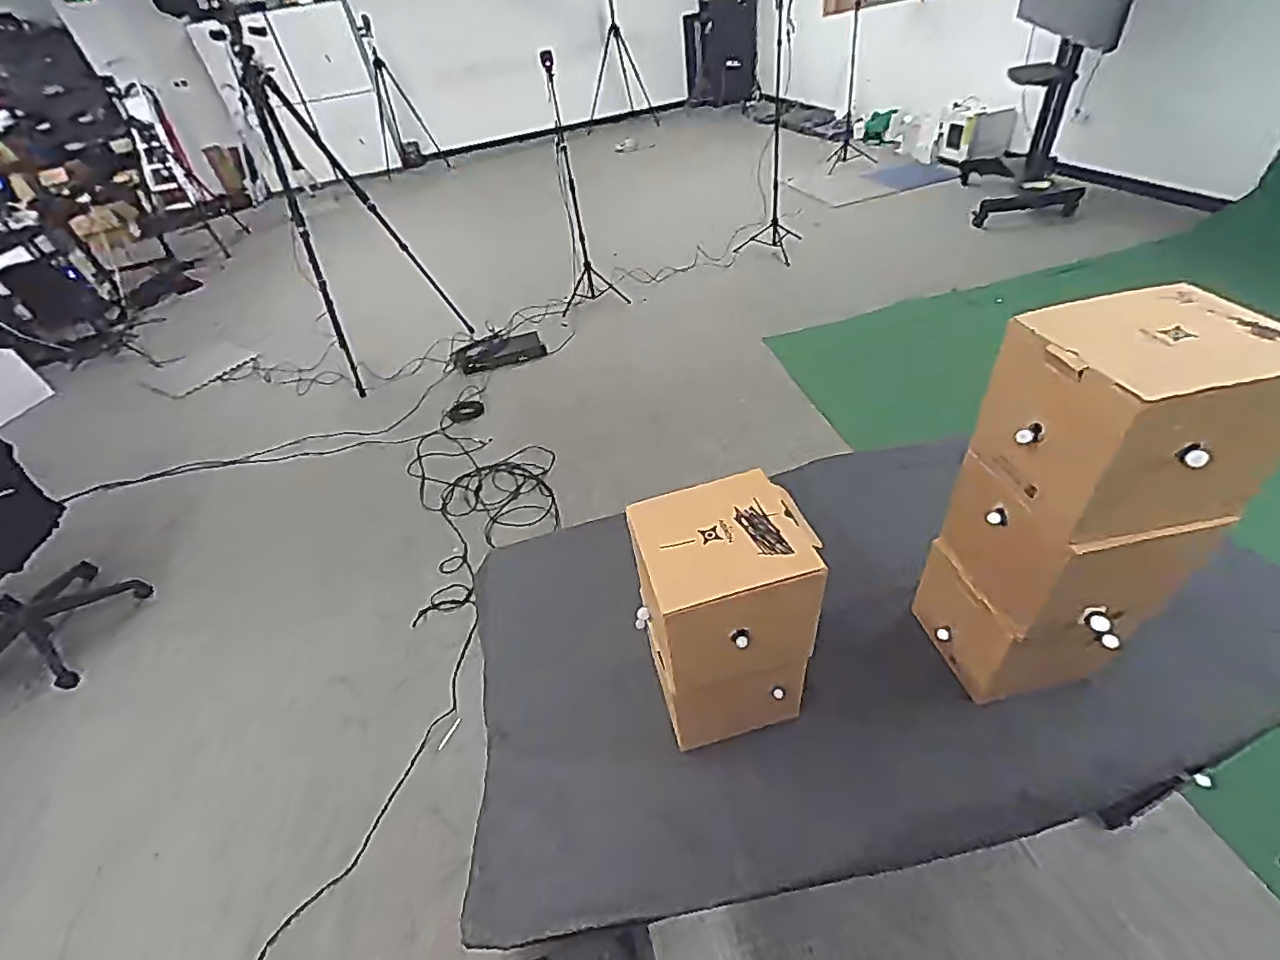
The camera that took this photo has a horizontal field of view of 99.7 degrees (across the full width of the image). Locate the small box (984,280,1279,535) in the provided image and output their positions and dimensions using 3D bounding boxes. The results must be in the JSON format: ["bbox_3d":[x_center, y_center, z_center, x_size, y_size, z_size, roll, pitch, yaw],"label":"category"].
[{"bbox_3d":[0.467,-0.066,0.522,0.179,0.176,0.168,-11,41,2],"label":"small box"}]

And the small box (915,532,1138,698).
[{"bbox_3d":[0.513,0.171,0.742,0.179,0.176,0.168,-12,41,-2],"label":"small box"}]

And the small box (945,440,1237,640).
[{"bbox_3d":[0.490,0.056,0.629,0.168,0.176,0.179,-12,43,1],"label":"small box"}]

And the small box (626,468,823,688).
[{"bbox_3d":[0.092,0.117,0.643,0.179,0.176,0.168,-15,42,-5],"label":"small box"}]
